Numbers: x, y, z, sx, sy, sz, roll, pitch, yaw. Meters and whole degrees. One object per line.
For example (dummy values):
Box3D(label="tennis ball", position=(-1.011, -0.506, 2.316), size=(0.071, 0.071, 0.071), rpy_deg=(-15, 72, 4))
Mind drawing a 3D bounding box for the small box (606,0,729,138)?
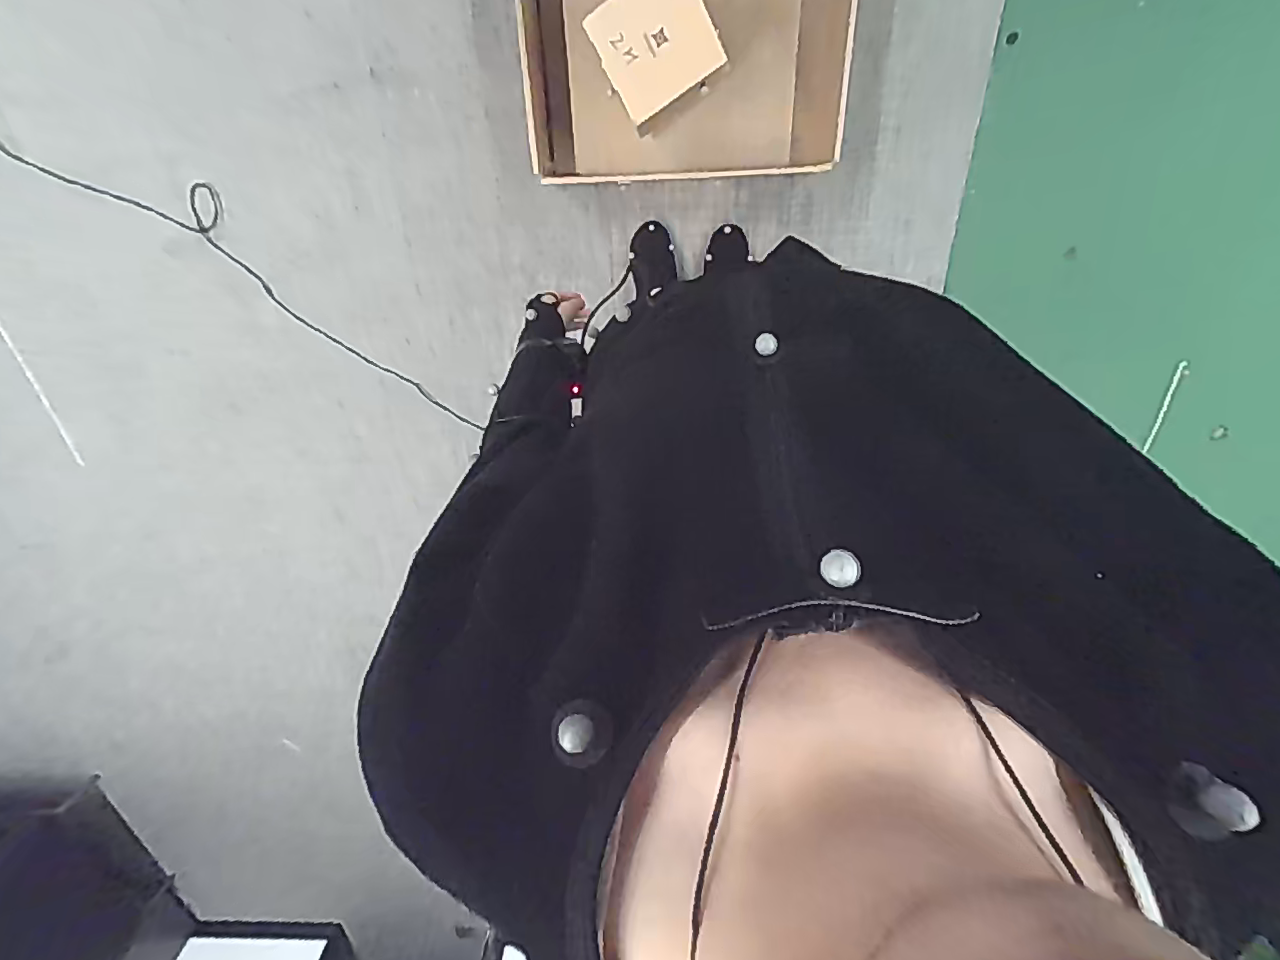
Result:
Box3D(label="small box", position=(0.057, -0.803, 1.055), size=(0.179, 0.176, 0.168), rpy_deg=(-28, 112, 16))
